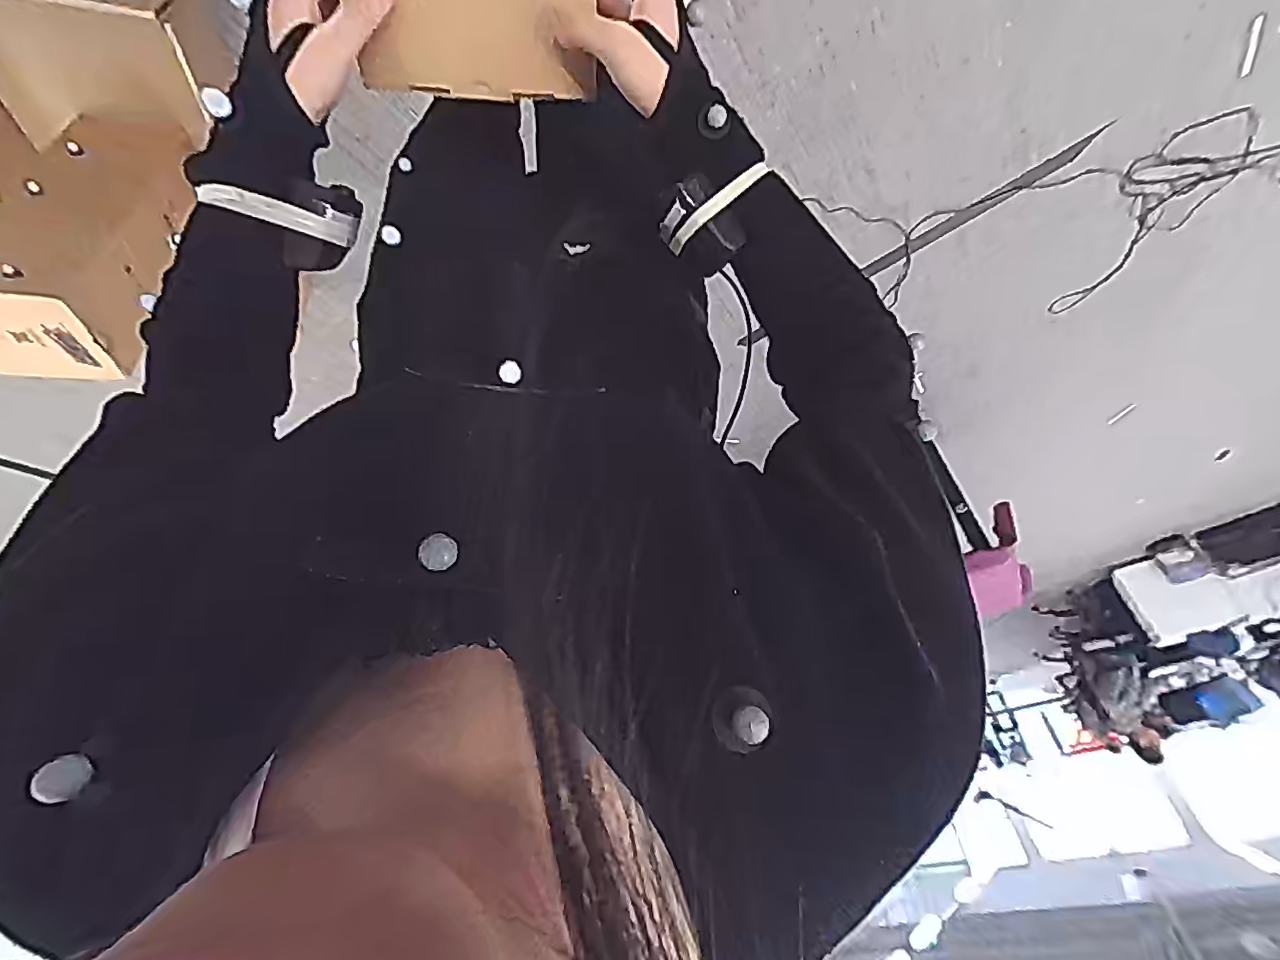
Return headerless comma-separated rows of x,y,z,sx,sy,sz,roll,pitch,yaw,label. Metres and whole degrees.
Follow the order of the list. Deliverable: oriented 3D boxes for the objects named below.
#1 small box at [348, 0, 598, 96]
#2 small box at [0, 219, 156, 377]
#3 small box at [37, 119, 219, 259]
-0.111,-0.402,0.375,0.168,0.176,0.179,-1,141,-7,small box
-0.908,-0.281,0.843,0.179,0.176,0.168,1,146,-13,small box
-0.947,-0.550,1.023,0.179,0.176,0.168,1,146,-16,small box
